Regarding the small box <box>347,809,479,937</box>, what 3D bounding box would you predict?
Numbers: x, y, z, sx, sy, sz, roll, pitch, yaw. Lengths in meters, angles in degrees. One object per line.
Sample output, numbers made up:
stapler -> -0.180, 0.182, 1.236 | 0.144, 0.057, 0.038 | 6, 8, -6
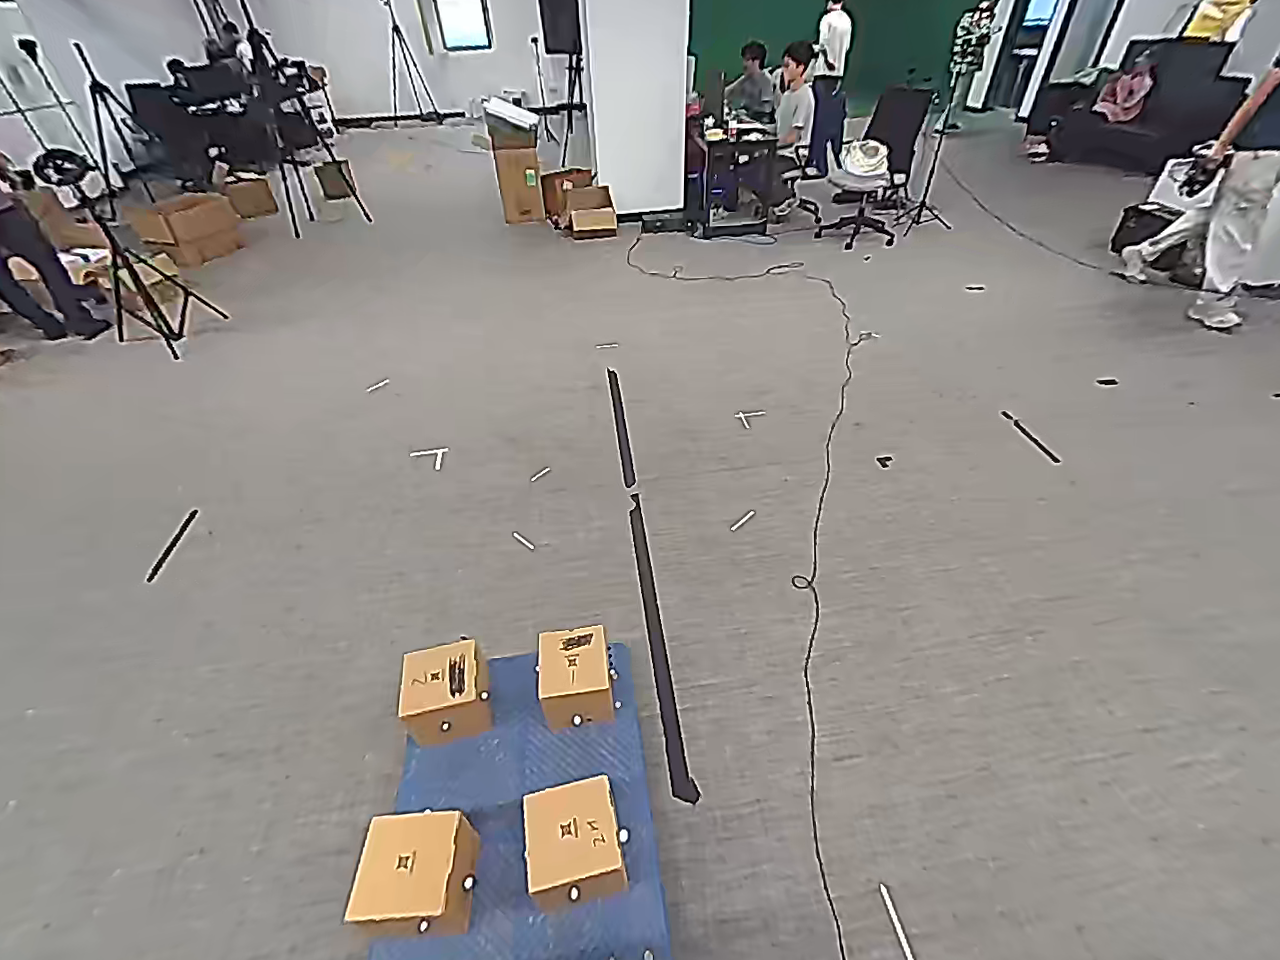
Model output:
small box -> -0.432, 0.771, 1.060 | 0.179, 0.176, 0.168 | -3, 41, -2

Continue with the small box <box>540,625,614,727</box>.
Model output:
small box -> -0.156, 0.493, 1.360 | 0.168, 0.176, 0.179 | -6, 43, -4

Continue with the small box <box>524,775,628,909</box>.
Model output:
small box -> -0.127, 0.730, 1.089 | 0.179, 0.176, 0.168 | -10, 42, -8
